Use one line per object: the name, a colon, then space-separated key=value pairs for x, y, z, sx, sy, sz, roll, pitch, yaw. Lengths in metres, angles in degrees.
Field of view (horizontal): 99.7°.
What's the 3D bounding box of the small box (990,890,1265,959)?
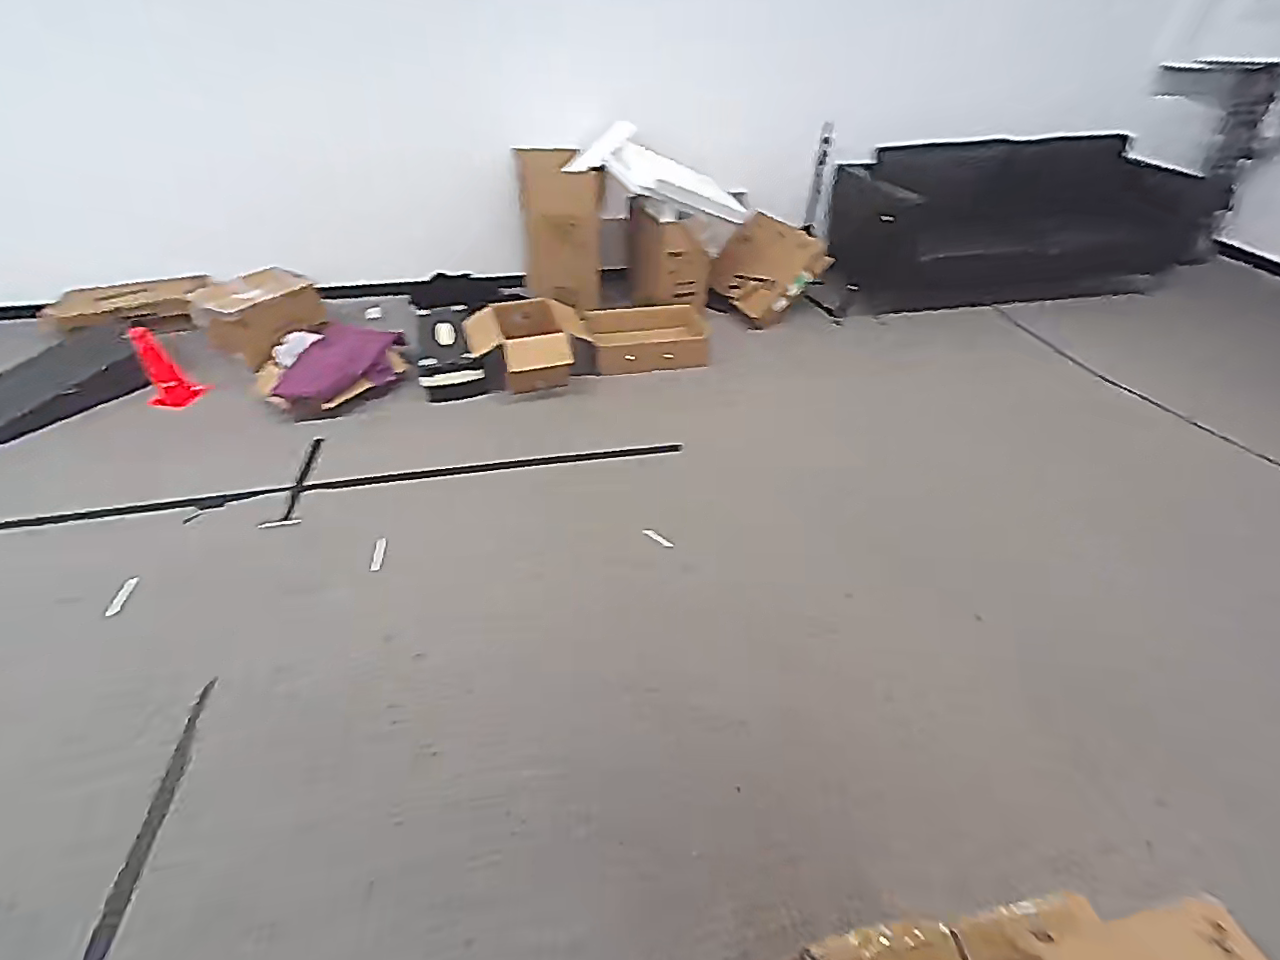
small box: x=0.419 y=0.475 z=0.444 sx=0.179 sy=0.176 sz=0.168 roll=-9 pitch=43 yaw=-9
